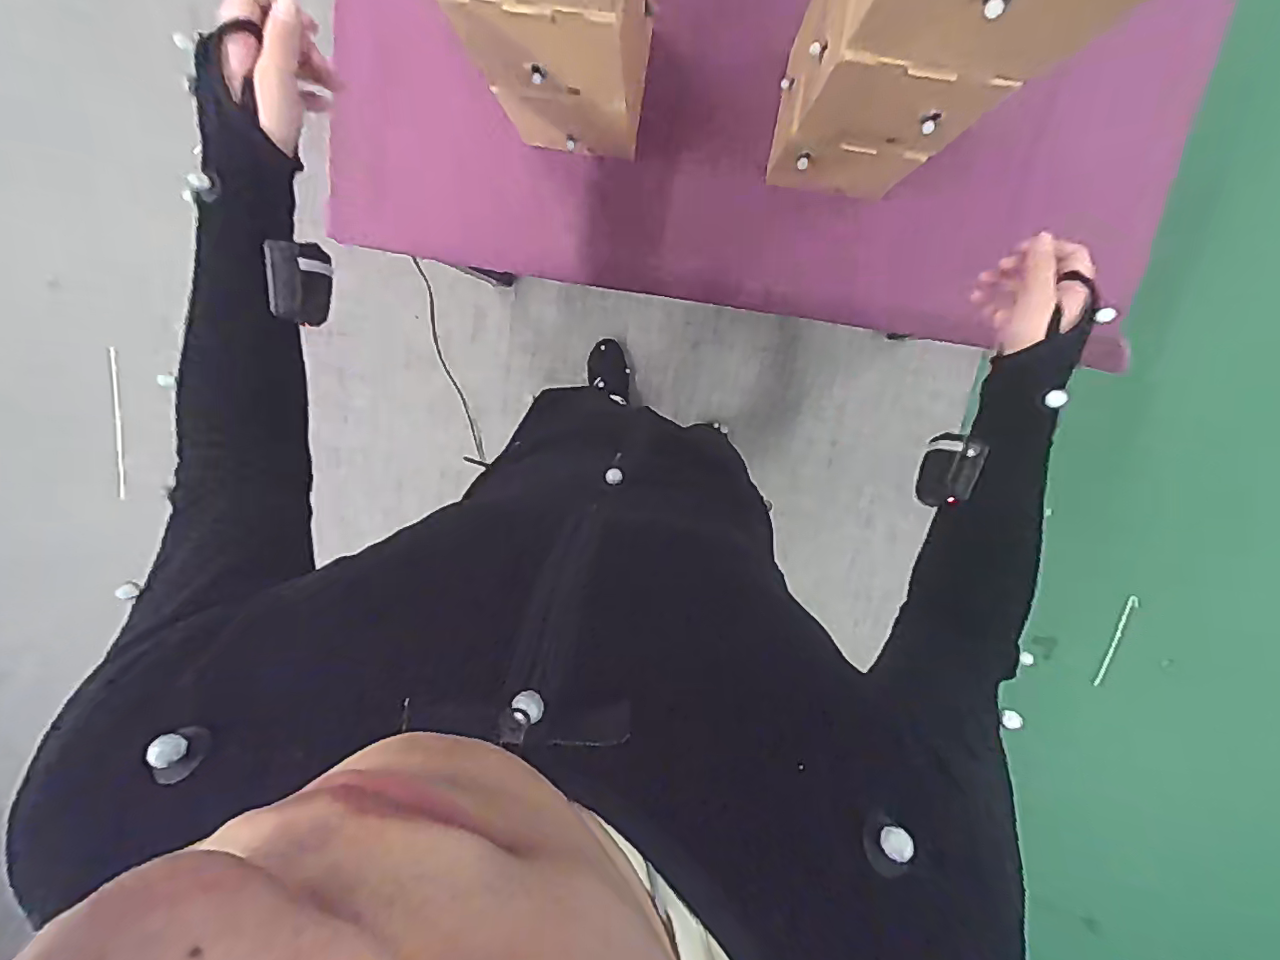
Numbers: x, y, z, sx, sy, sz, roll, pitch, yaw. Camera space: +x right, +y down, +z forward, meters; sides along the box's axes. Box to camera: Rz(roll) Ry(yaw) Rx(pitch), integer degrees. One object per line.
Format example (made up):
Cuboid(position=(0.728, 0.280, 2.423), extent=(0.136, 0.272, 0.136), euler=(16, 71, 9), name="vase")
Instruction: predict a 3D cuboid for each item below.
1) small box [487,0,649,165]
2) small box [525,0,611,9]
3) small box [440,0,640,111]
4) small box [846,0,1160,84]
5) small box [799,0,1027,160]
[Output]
Cuboid(position=(-0.082, -0.536, 0.688), extent=(0.168, 0.176, 0.179), euler=(10, 103, 0), name="small box")
Cuboid(position=(-0.095, -0.470, 0.368), extent=(0.179, 0.176, 0.168), euler=(8, 103, 0), name="small box")
Cuboid(position=(-0.087, -0.504, 0.529), extent=(0.168, 0.176, 0.179), euler=(8, 103, -1), name="small box")
Cuboid(position=(0.270, -0.410, 0.370), extent=(0.179, 0.176, 0.168), euler=(10, 102, 0), name="small box")
Cuboid(position=(0.268, -0.444, 0.530), extent=(0.168, 0.176, 0.179), euler=(9, 102, -1), name="small box")
